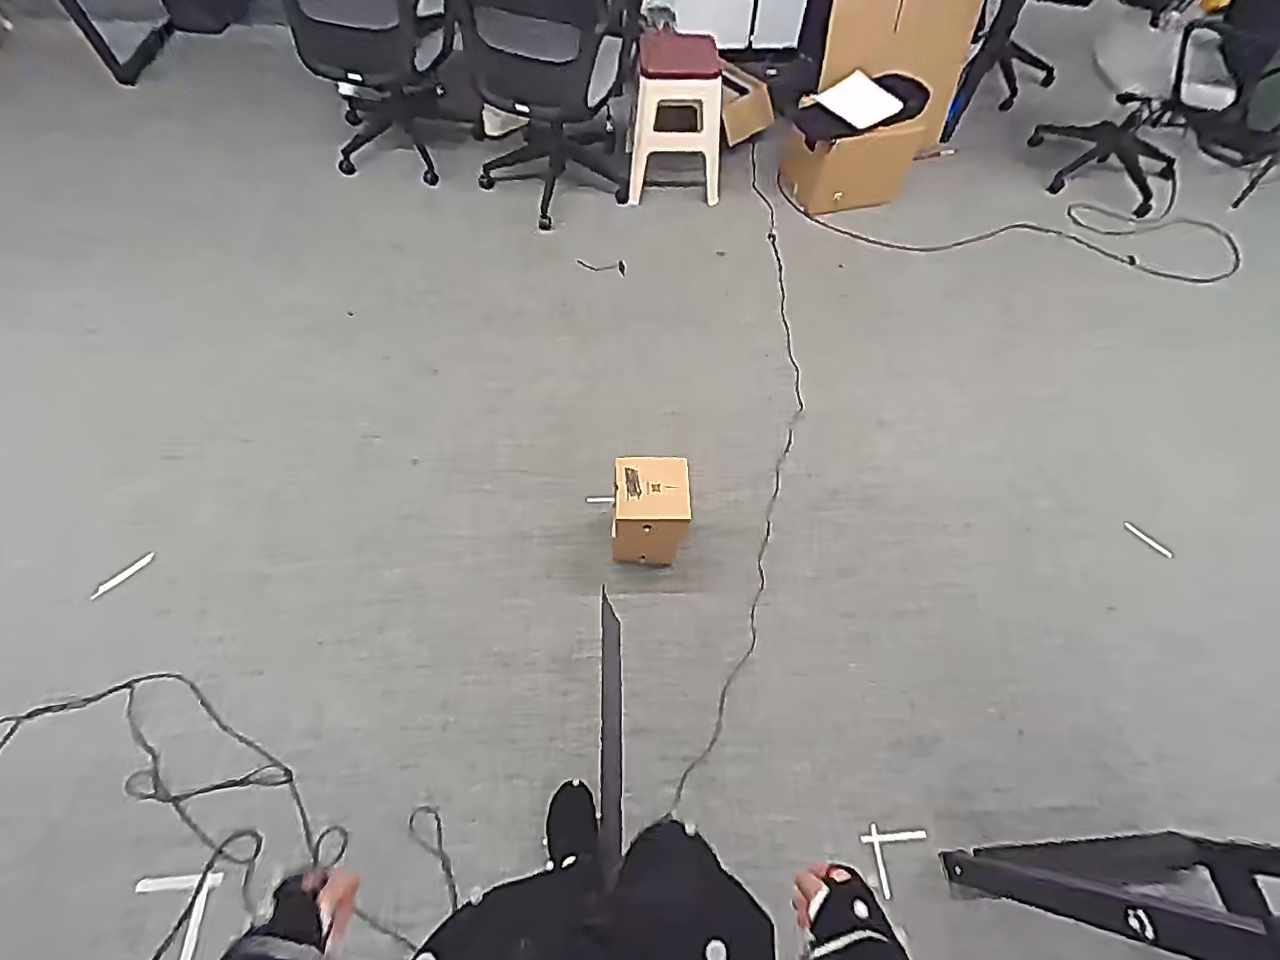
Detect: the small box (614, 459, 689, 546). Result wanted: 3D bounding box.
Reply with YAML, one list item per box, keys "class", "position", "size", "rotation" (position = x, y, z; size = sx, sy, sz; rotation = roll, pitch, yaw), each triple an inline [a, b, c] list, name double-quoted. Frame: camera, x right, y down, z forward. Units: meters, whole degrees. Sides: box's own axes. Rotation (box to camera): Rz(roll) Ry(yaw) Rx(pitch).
- class: "small box"
  position: [0.025, 0.060, 1.347]
  size: [0.179, 0.176, 0.168]
  rotation: [0, 62, -3]

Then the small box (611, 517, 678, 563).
- class: "small box"
  position: [0.014, 0.124, 1.499]
  size: [0.179, 0.176, 0.168]
  rotation: [5, 62, 0]
